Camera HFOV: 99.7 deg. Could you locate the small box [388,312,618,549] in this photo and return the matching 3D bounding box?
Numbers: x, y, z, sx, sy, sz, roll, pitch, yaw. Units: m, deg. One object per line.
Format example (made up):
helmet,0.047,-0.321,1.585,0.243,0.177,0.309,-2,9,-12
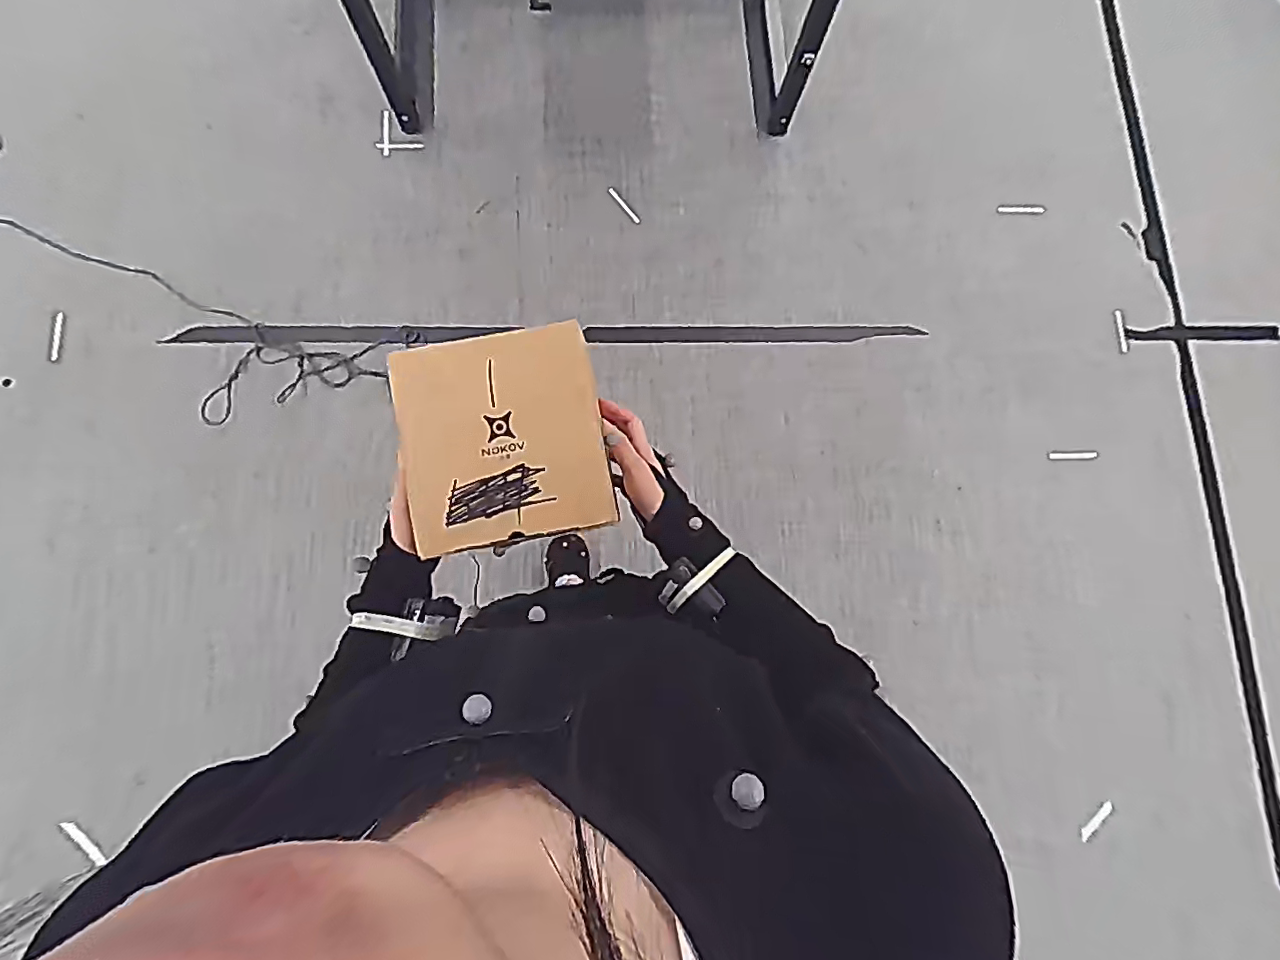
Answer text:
small box,-0.115,-0.038,0.522,0.168,0.176,0.179,-10,86,-2
